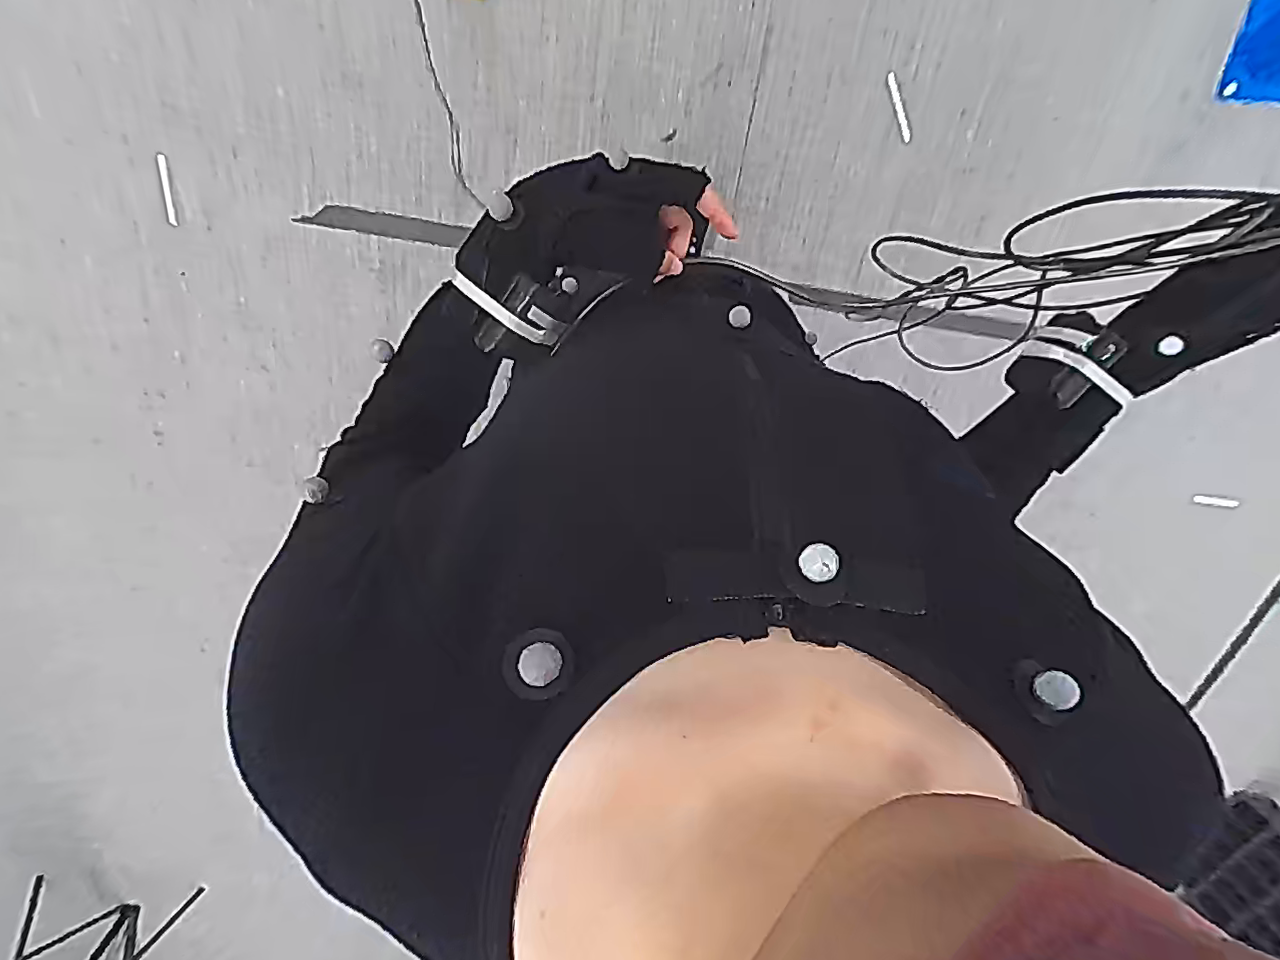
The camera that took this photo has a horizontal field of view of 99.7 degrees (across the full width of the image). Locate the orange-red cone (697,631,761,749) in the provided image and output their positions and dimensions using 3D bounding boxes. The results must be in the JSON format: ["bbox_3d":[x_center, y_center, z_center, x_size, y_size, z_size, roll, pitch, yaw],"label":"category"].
[{"bbox_3d":[0.306,0.656,1.653,0.199,0.360,0.198,2,115,-5],"label":"orange-red cone"}]

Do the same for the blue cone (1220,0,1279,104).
[{"bbox_3d":[1.374,-0.853,1.007,0.193,0.380,0.192,2,115,-4],"label":"blue cone"}]
